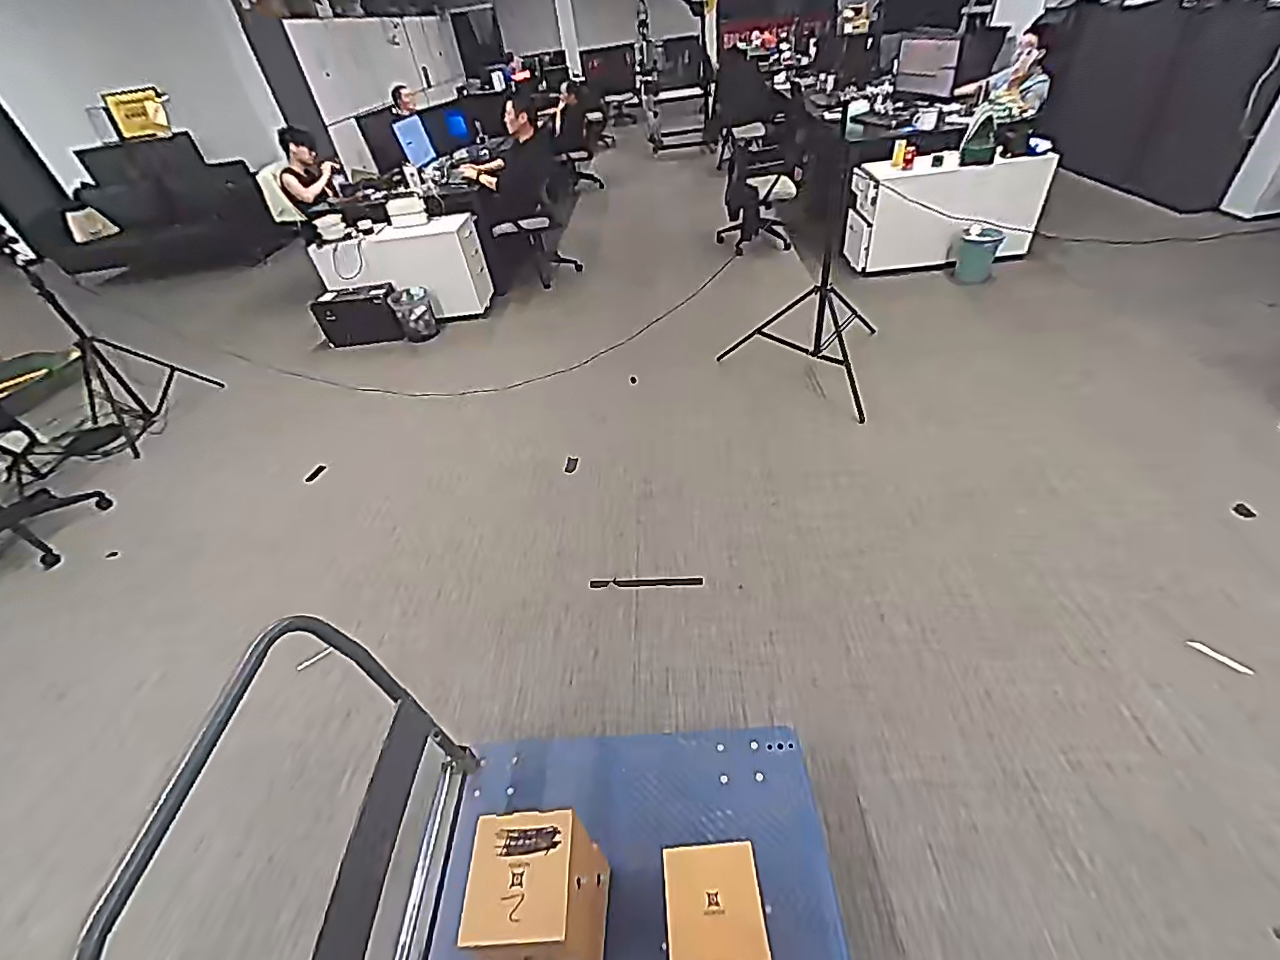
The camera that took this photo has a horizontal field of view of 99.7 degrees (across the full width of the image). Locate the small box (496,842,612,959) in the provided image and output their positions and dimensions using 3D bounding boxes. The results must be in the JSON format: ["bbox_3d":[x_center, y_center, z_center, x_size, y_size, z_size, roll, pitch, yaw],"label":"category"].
[{"bbox_3d":[-0.149,0.806,1.011,0.168,0.176,0.179,-4,41,7],"label":"small box"}]

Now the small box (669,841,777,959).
[{"bbox_3d":[0.144,0.788,0.981,0.168,0.176,0.179,-8,41,2],"label":"small box"}]
